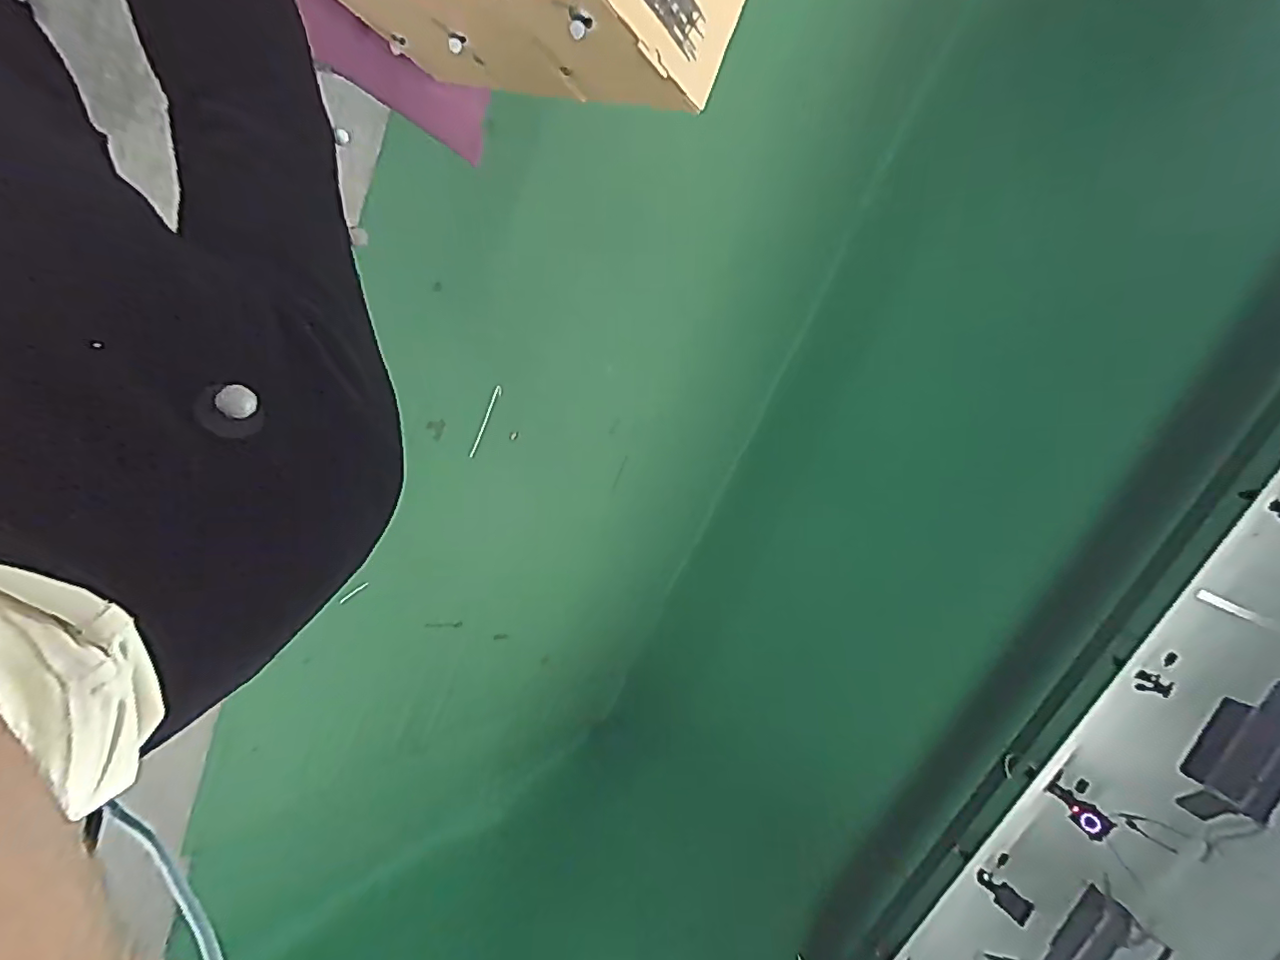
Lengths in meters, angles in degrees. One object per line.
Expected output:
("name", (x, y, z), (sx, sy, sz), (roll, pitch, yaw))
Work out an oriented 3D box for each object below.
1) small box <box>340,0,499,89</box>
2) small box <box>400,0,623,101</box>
("small box", (-0.257, -0.633, 0.669), (0.179, 0.176, 0.168), (8, 110, -58))
("small box", (-0.135, -0.561, 0.589), (0.168, 0.176, 0.179), (9, 110, -56))
